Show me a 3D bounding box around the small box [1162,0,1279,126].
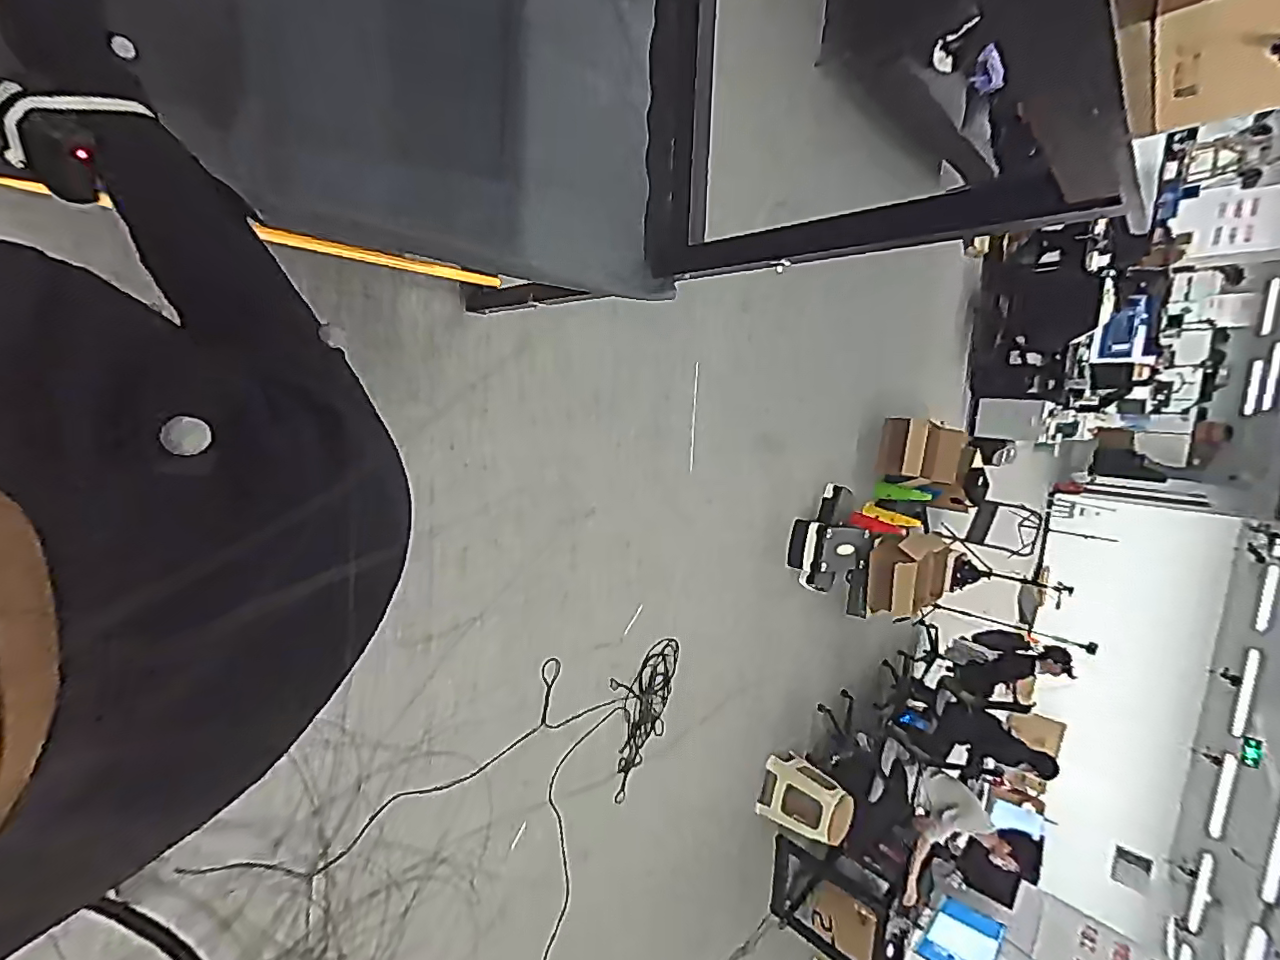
[{"bbox_3d":[0.519,-0.410,0.403,0.168,0.176,0.179,9,92,-47],"label":"small box"}]
